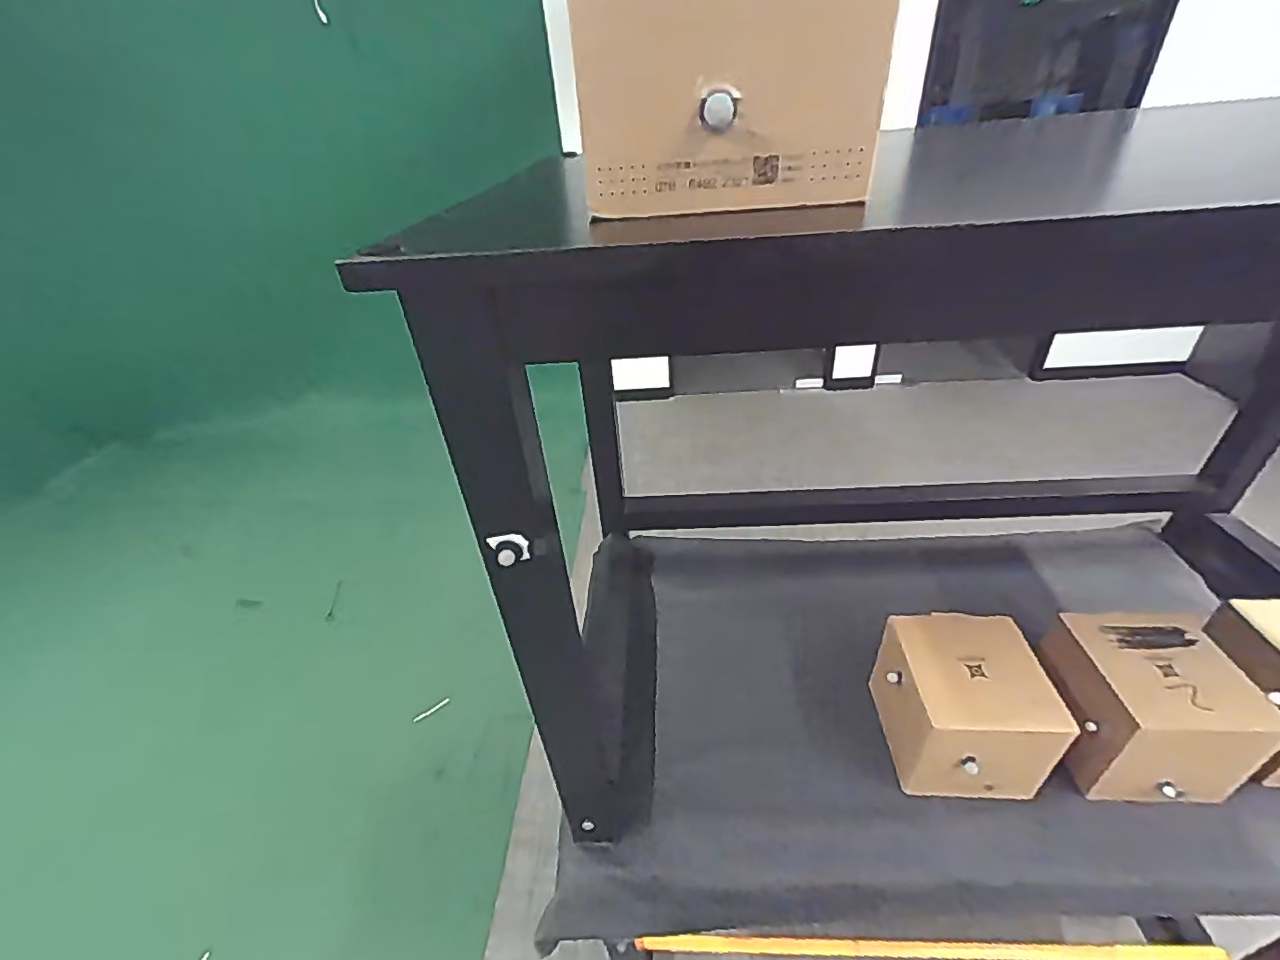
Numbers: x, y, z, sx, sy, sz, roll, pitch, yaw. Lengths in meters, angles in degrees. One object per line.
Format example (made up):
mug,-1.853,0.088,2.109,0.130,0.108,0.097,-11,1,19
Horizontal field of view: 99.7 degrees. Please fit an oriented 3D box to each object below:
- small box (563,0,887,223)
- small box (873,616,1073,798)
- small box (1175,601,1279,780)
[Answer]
small box,0.046,-0.270,0.345,0.168,0.176,0.179,-2,35,5
small box,0.436,0.310,0.744,0.168,0.176,0.179,-1,34,7
small box,0.887,0.284,0.715,0.168,0.176,0.179,0,34,7
